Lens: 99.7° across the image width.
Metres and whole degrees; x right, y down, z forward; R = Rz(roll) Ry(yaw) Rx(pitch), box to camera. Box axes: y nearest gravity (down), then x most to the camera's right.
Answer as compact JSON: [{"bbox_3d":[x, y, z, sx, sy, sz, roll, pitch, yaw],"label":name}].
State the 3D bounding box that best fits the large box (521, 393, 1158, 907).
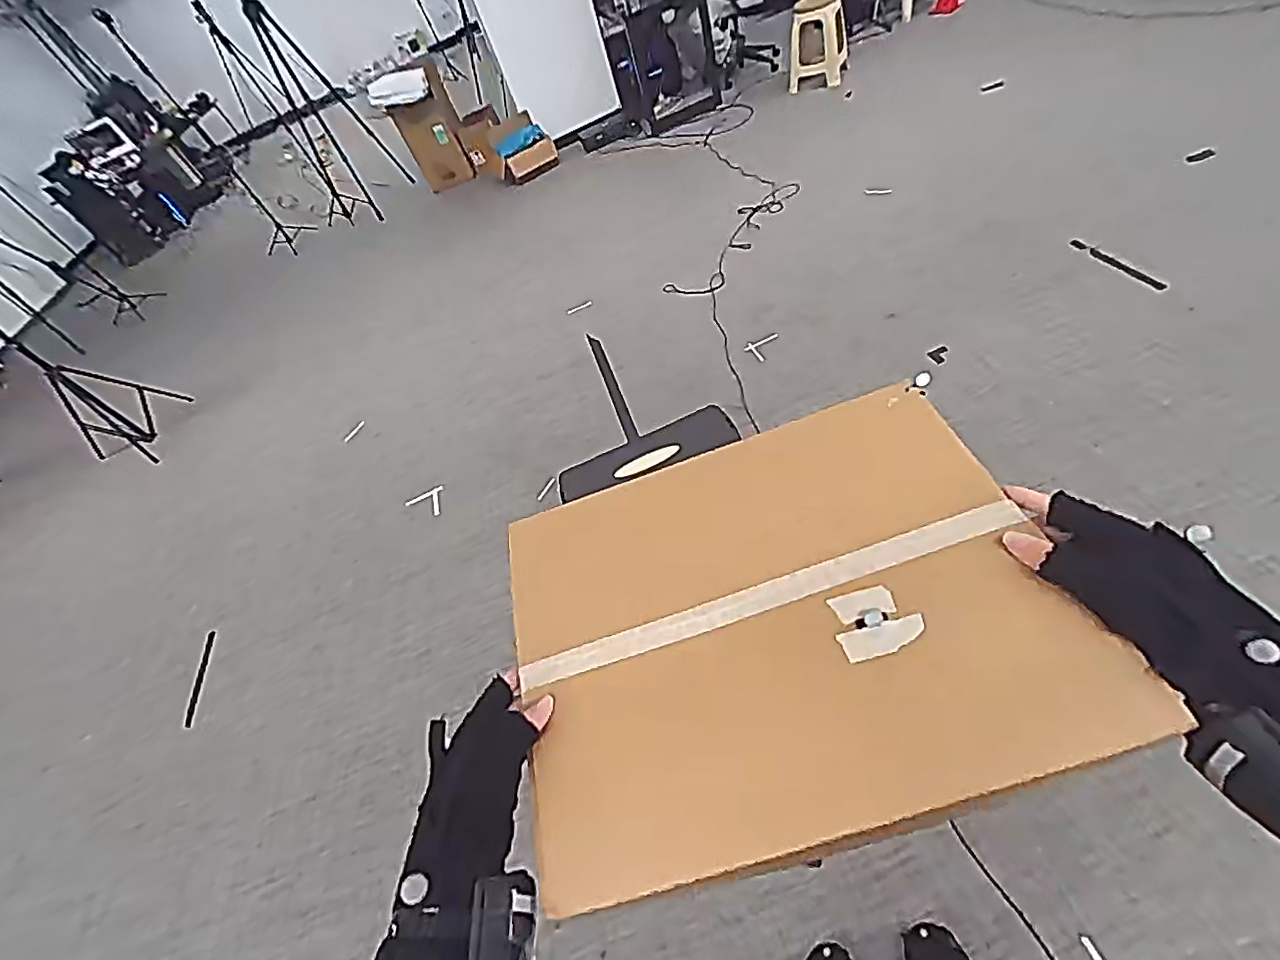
[{"bbox_3d":[0.138,0.183,0.549,0.408,0.320,0.320,-20,52,4],"label":"large box"}]
